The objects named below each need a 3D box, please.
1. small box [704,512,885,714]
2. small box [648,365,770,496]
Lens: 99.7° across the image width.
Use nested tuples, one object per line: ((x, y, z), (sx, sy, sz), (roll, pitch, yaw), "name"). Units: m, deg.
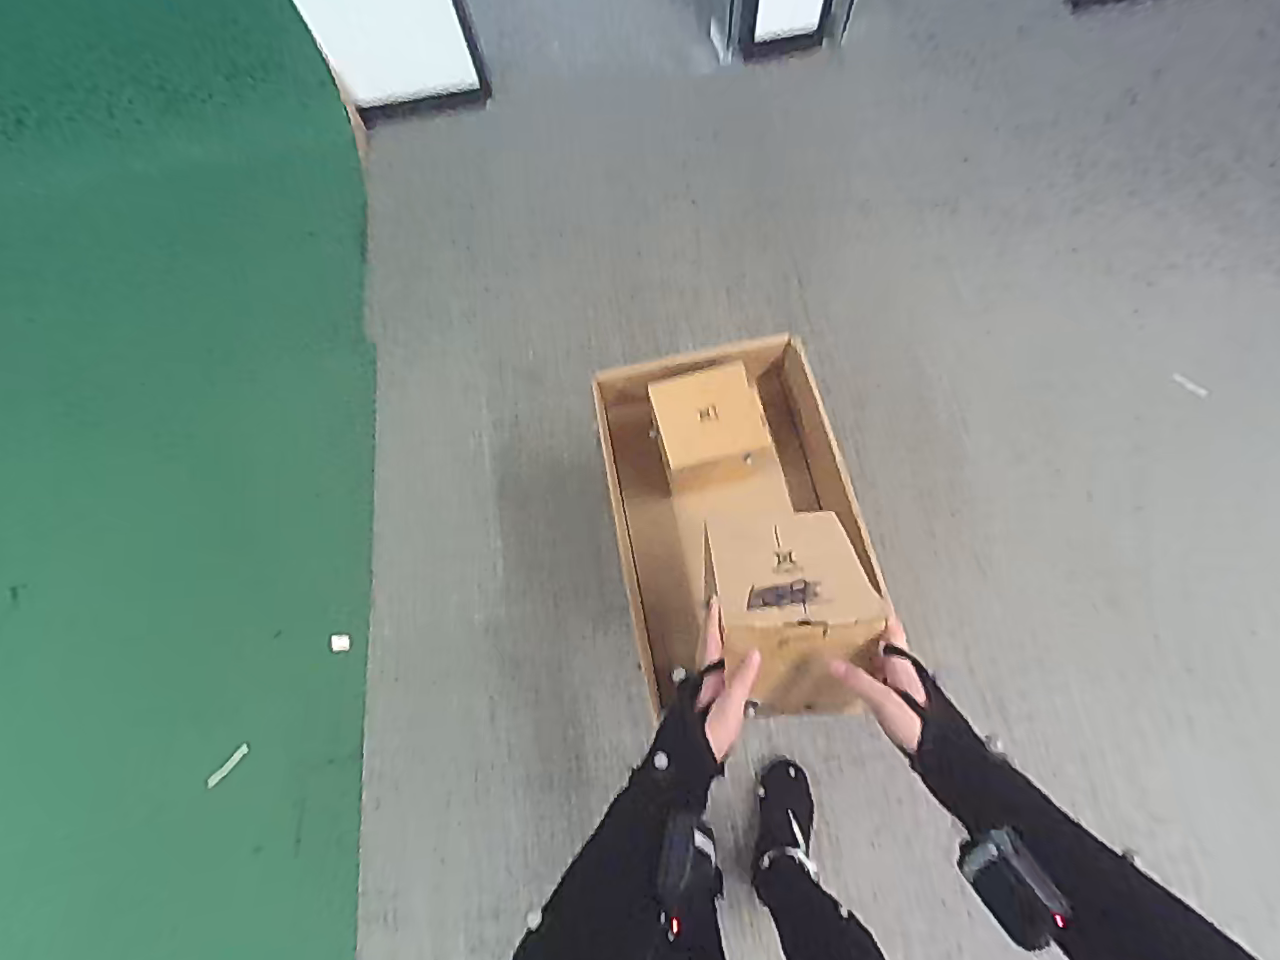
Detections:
((0.167, 0.160, 0.644), (0.168, 0.176, 0.179), (-3, 36, 2), "small box")
((0.122, -0.083, 1.000), (0.179, 0.176, 0.168), (-15, 70, -1), "small box")
